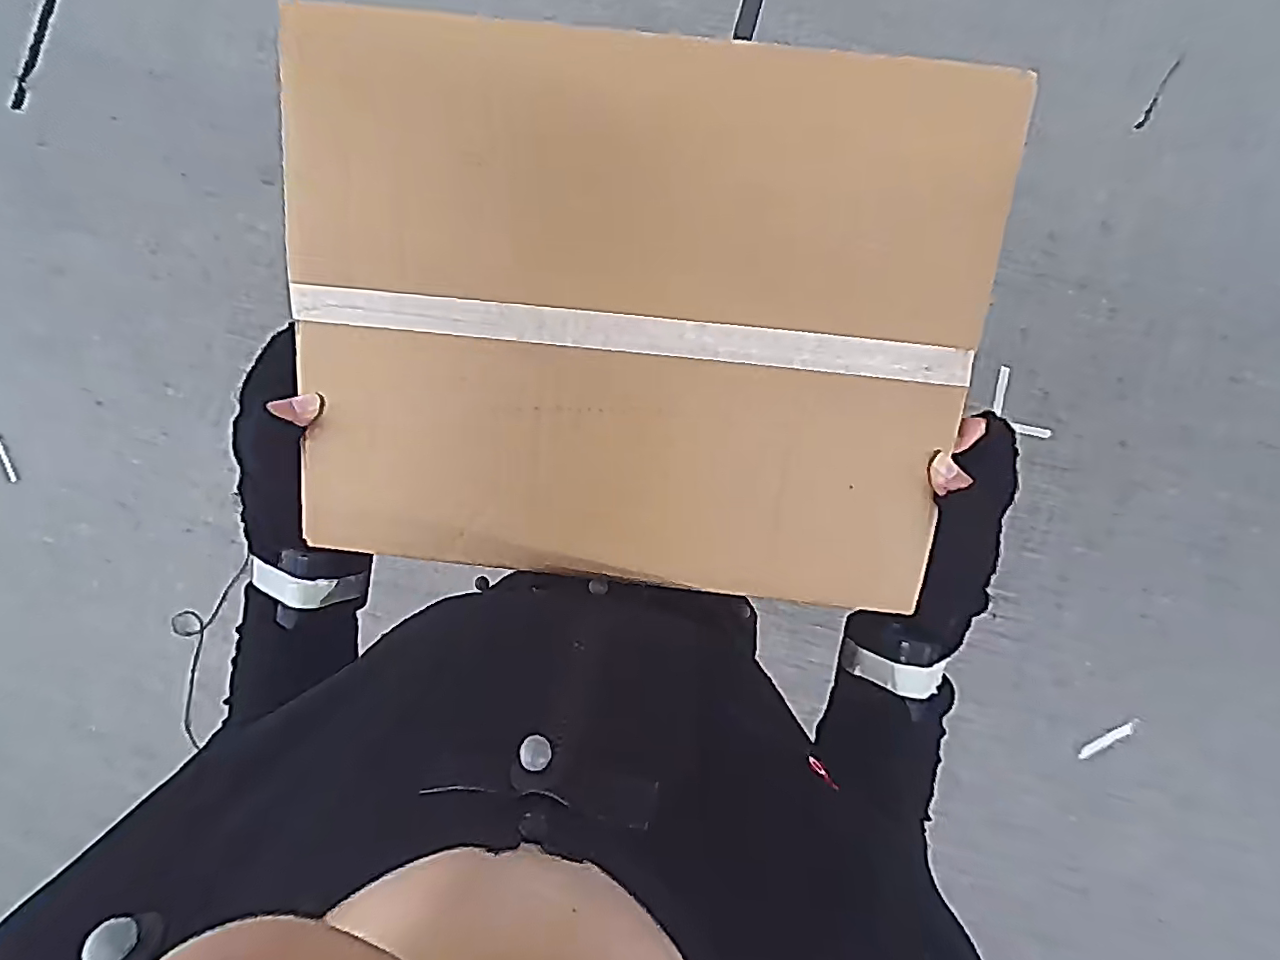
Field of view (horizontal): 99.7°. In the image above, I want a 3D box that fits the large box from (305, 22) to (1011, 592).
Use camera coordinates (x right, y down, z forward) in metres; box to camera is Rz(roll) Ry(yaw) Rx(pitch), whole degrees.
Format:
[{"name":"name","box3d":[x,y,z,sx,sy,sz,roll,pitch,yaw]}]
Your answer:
[{"name":"large box","box3d":[-0.001,-0.122,0.477,0.408,0.320,0.320,6,104,1]}]
